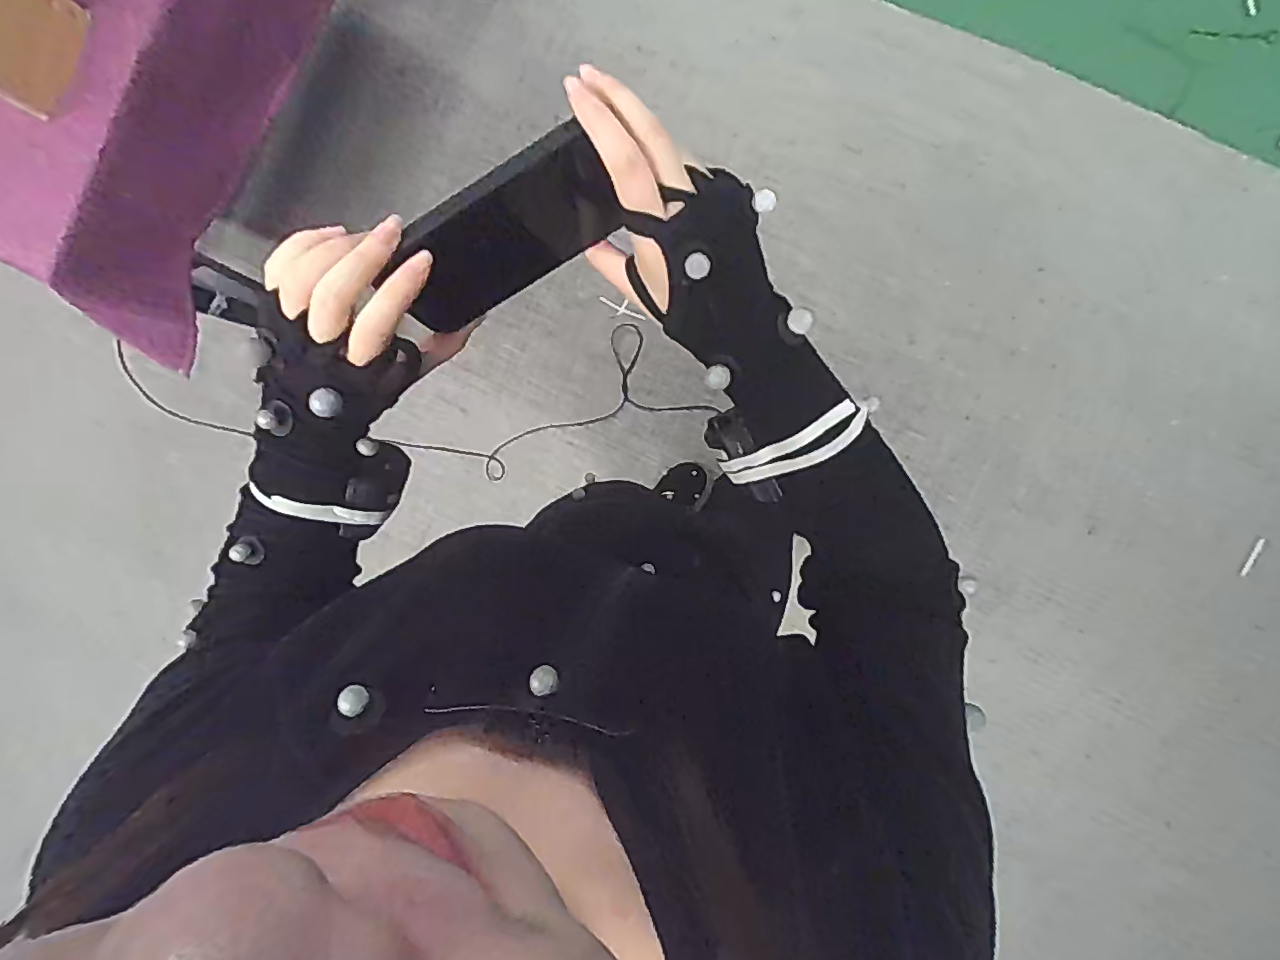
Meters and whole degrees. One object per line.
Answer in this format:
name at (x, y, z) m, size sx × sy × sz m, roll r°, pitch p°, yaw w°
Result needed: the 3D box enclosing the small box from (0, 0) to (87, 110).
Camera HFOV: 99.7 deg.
small box at (-0.929, -0.660, 0.736) m, size 0.168 × 0.176 × 0.179 m, roll 29°, pitch 93°, yaw 3°
